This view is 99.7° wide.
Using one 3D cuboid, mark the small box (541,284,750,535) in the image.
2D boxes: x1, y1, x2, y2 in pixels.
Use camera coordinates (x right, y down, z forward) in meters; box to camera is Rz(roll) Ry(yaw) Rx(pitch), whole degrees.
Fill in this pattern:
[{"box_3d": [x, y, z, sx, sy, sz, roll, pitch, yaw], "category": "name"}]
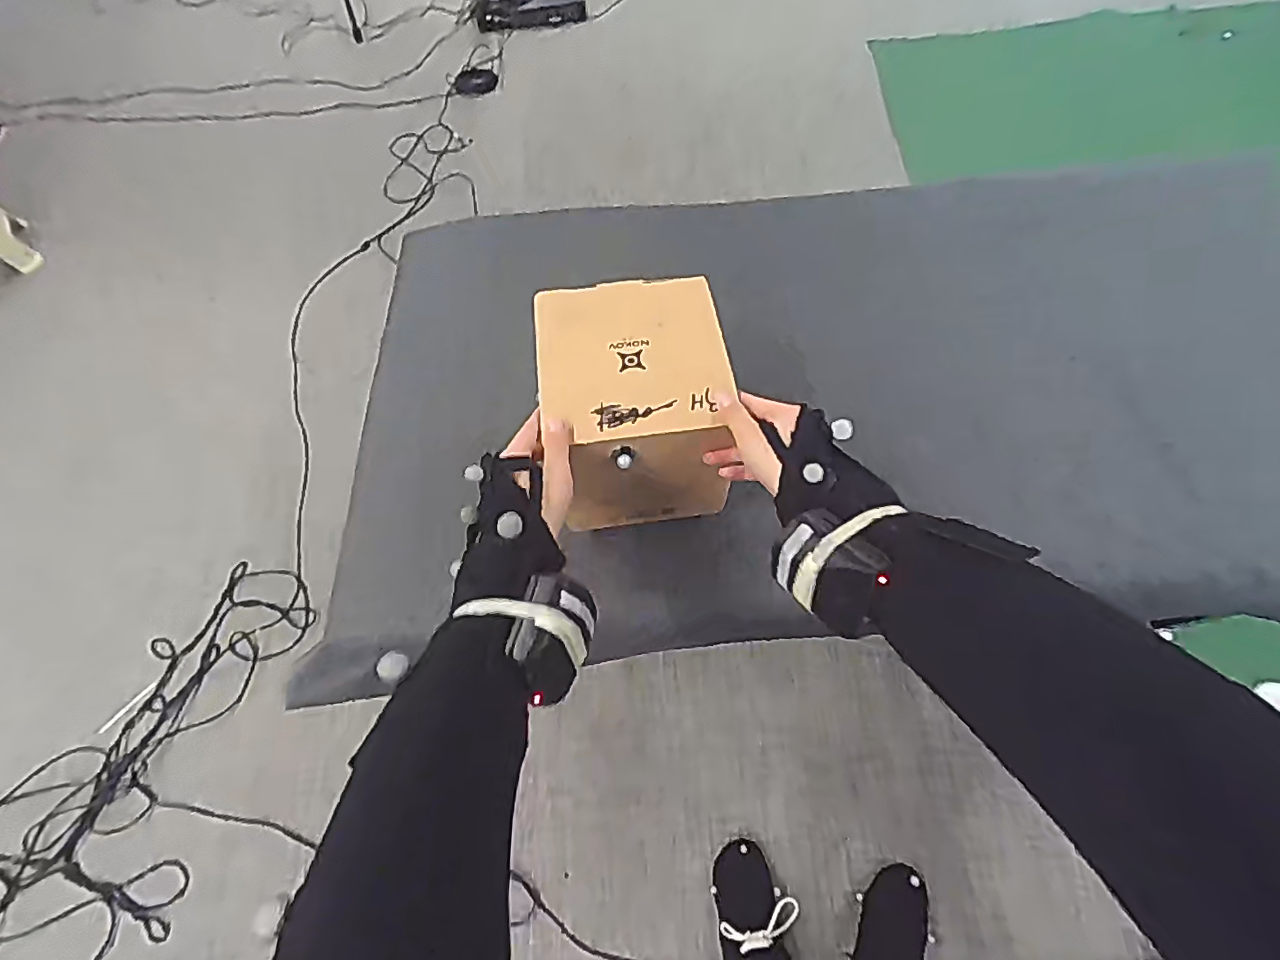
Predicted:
[{"box_3d": [-0.002, -0.064, 0.537, 0.168, 0.176, 0.179, -7, 61, -3], "category": "small box"}]
